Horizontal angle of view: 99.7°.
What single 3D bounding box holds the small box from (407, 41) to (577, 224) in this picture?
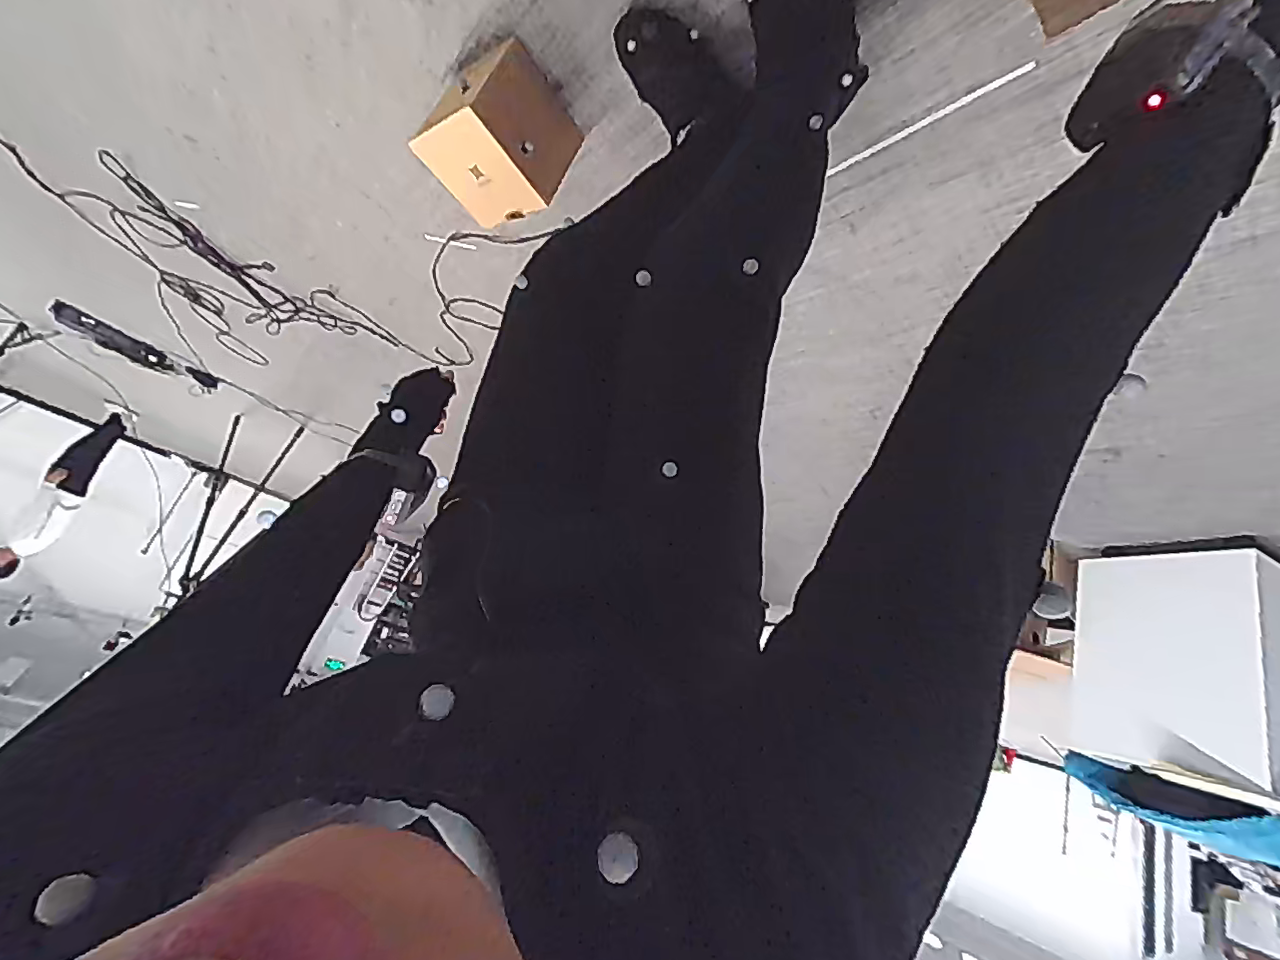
[{"bbox_3d":[-0.235,-0.566,0.887,0.168,0.176,0.179,4,157,38],"label":"small box"}]
